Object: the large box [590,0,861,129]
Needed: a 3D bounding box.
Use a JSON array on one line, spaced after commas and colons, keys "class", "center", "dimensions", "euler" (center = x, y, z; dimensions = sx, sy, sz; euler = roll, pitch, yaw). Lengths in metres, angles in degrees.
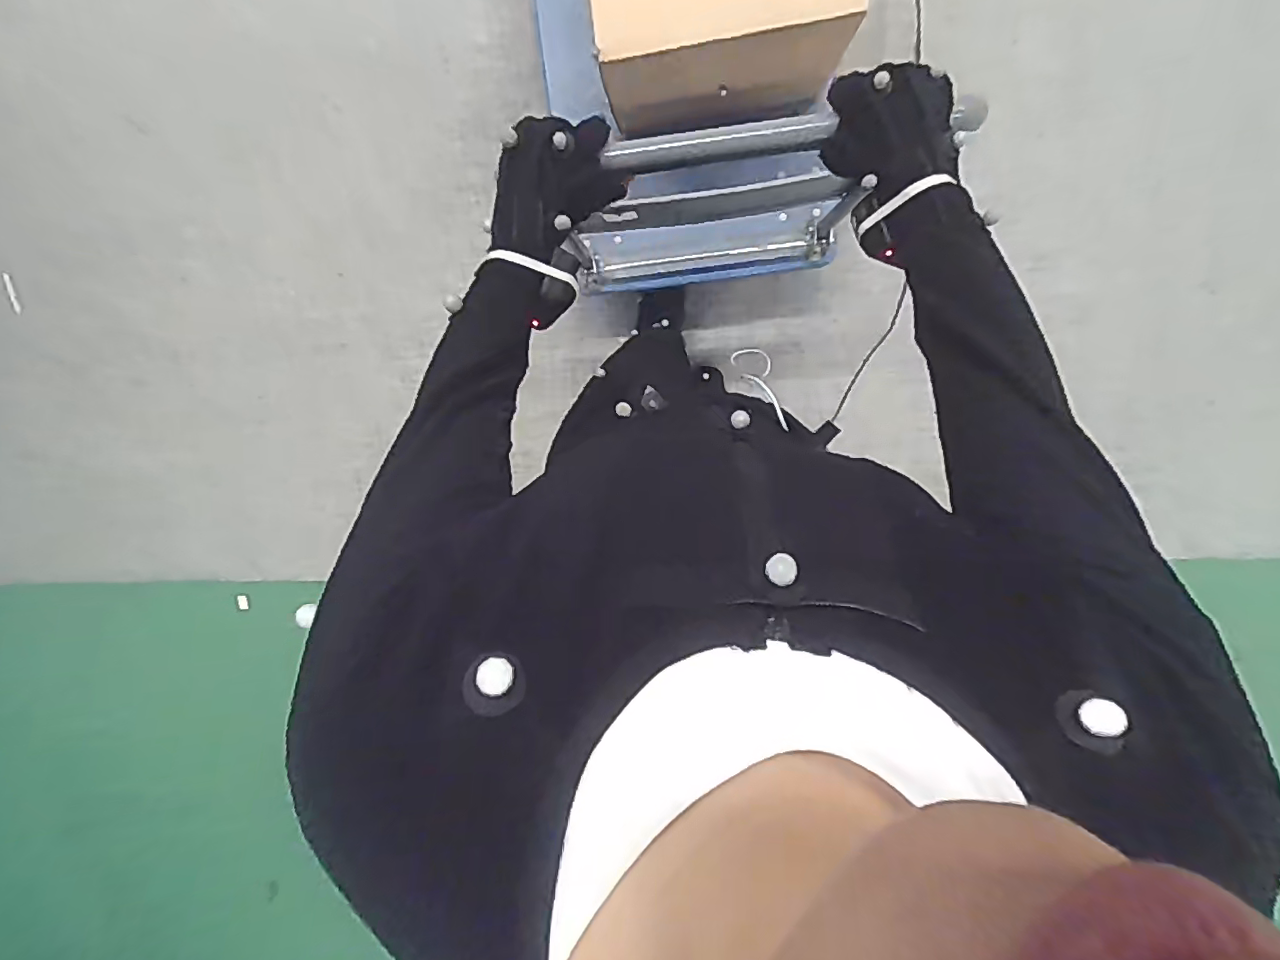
[{"class": "large box", "center": [0.126, -0.853, 0.923], "dimensions": [0.408, 0.320, 0.320], "euler": [-6, 105, 7]}]
